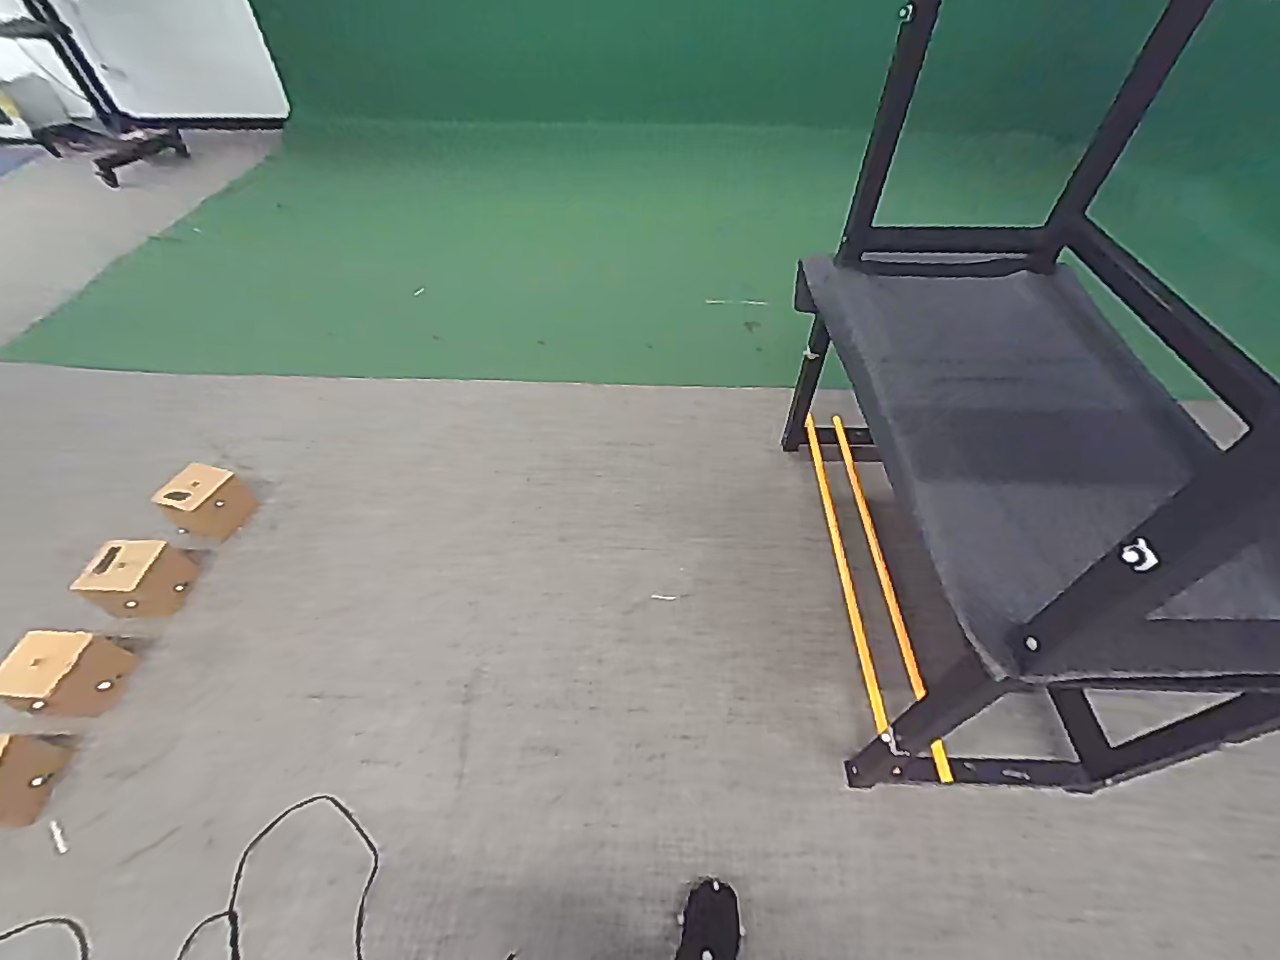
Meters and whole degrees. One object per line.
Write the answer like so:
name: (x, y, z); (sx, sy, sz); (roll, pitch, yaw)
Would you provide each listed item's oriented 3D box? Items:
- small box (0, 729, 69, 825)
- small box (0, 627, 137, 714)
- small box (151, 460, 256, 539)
small box: (-1.506, 0.688, 1.241); (0.179, 0.176, 0.168); (-4, 51, -4)
small box: (-1.493, 0.498, 1.406); (0.179, 0.176, 0.168); (2, 50, 1)
small box: (-1.416, 0.067, 1.772); (0.168, 0.176, 0.179); (13, 49, 10)
